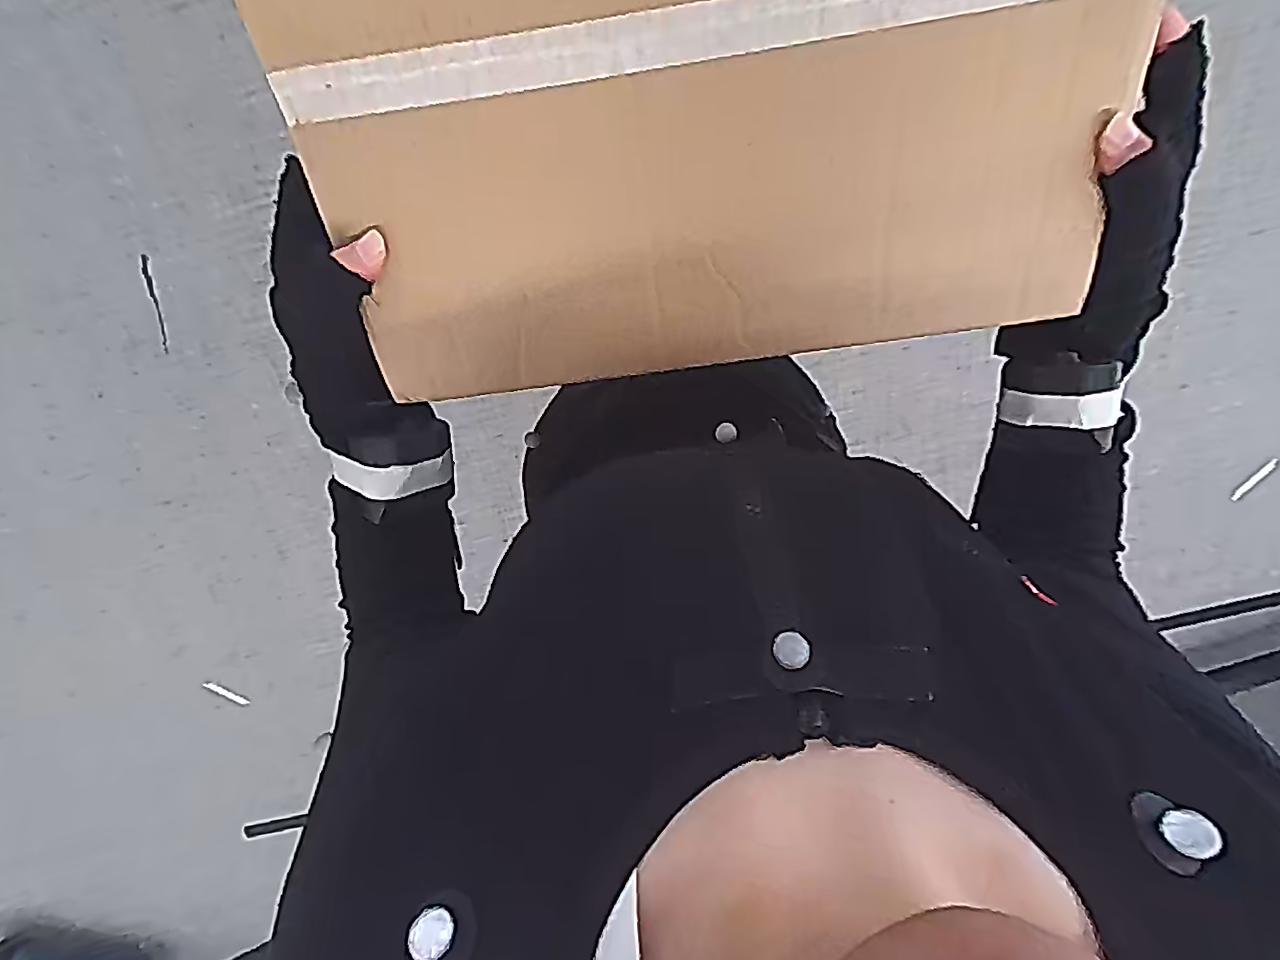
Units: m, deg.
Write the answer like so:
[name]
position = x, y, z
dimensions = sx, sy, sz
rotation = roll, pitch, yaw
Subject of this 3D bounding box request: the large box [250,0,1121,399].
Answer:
[large box]
position = 0.024, -0.282, 0.381
dimensions = 0.408, 0.320, 0.320
rotation = -7, 120, 3
